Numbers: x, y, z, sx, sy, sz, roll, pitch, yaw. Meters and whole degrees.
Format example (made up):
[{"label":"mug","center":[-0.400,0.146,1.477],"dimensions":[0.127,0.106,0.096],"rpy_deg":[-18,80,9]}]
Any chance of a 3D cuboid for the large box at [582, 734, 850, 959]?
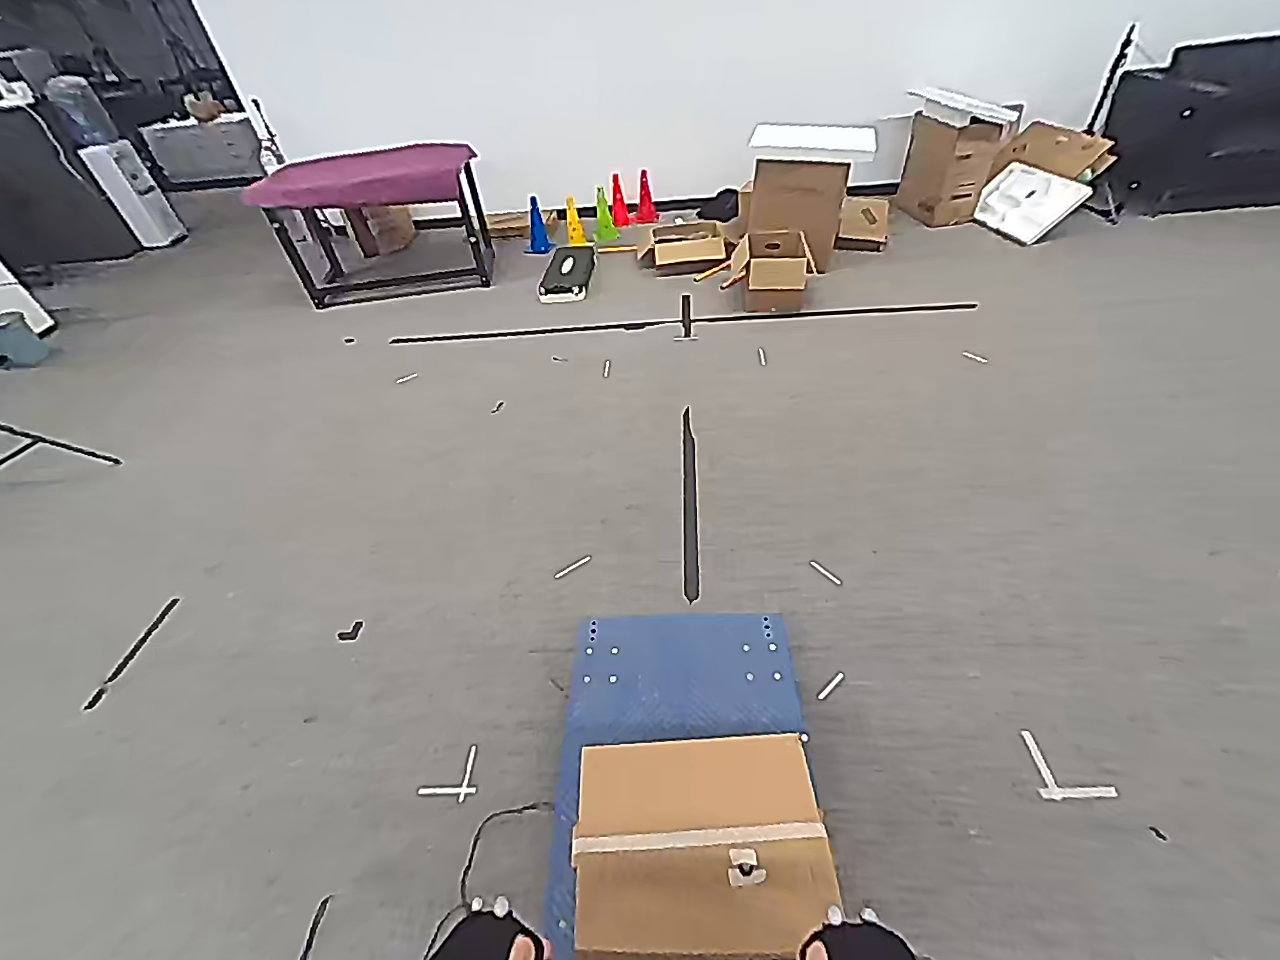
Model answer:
[{"label":"large box","center":[0.111,0.702,0.995],"dimensions":[0.408,0.320,0.320],"rpy_deg":[-4,44,0]}]
